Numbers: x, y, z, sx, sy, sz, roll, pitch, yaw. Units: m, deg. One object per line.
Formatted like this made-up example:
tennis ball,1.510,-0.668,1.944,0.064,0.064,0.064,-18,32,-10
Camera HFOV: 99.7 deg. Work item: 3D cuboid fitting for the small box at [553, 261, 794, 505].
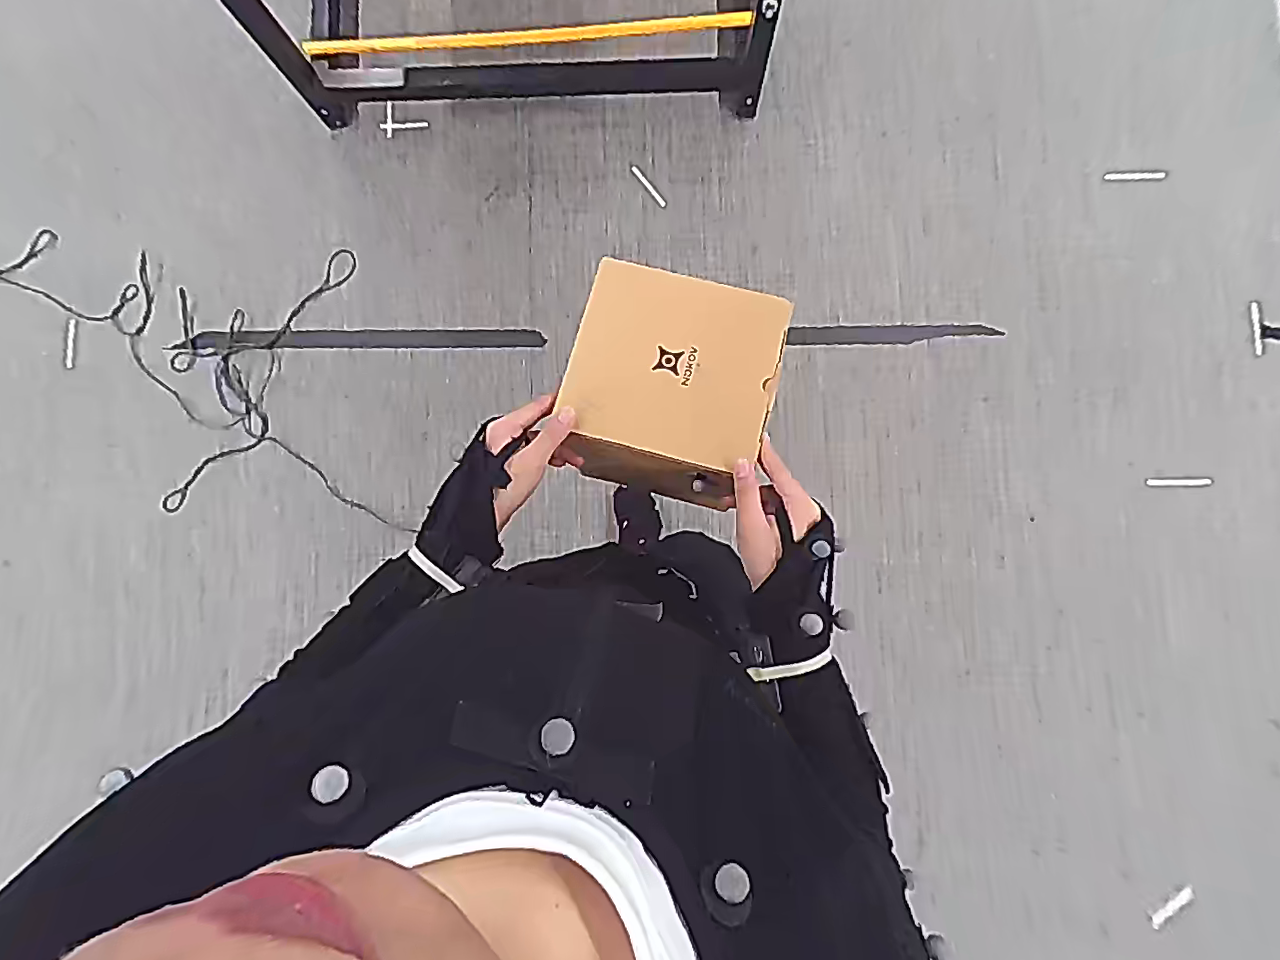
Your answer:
small box,0.032,-0.082,0.537,0.179,0.176,0.168,14,78,4
